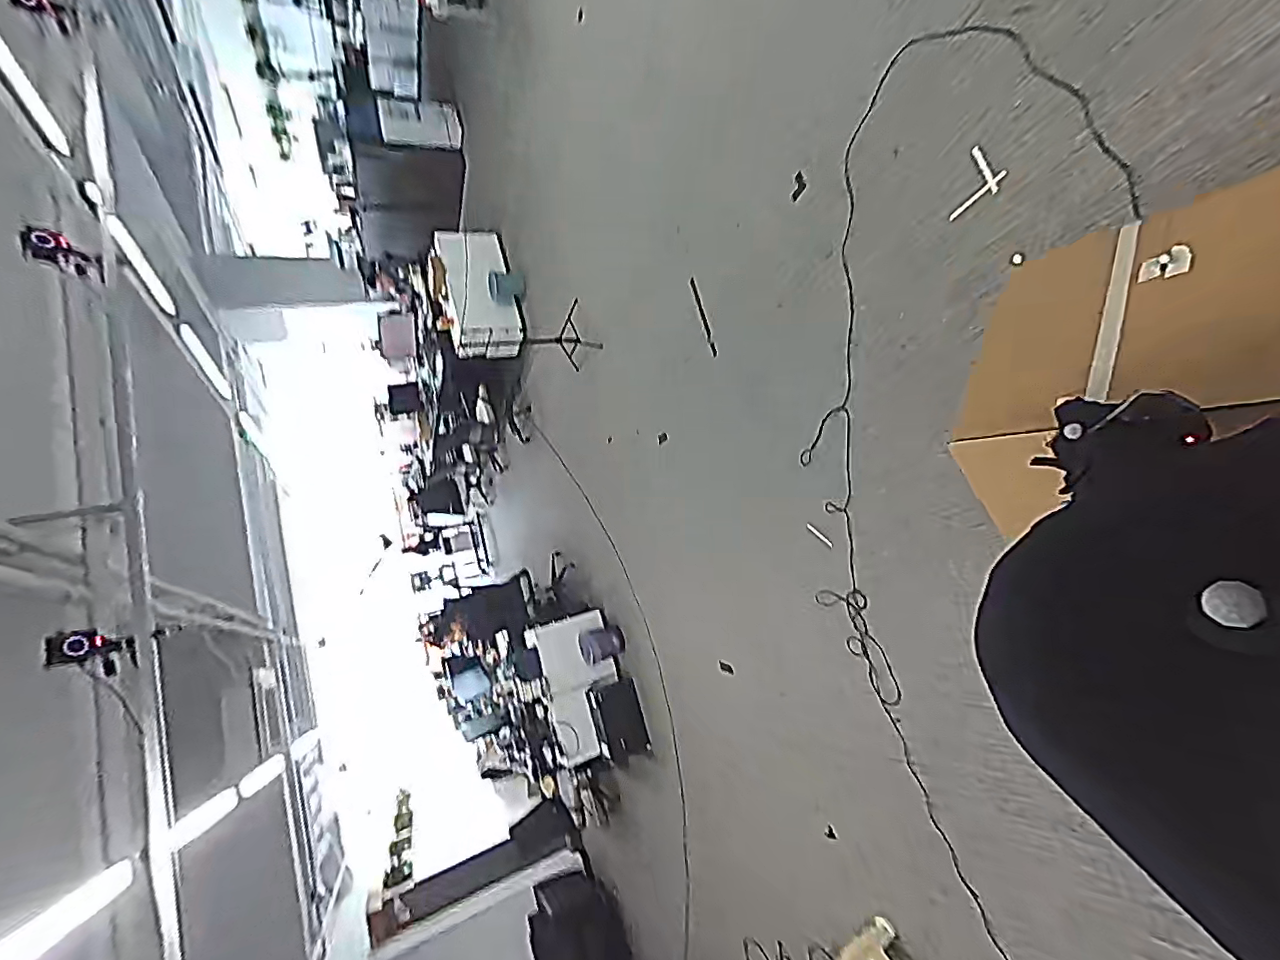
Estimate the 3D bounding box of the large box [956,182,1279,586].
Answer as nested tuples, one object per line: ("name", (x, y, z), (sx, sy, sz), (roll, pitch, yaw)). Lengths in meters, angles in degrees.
("large box", (0.705, -0.107, 0.747), (0.320, 0.408, 0.320), (46, 152, -23))
